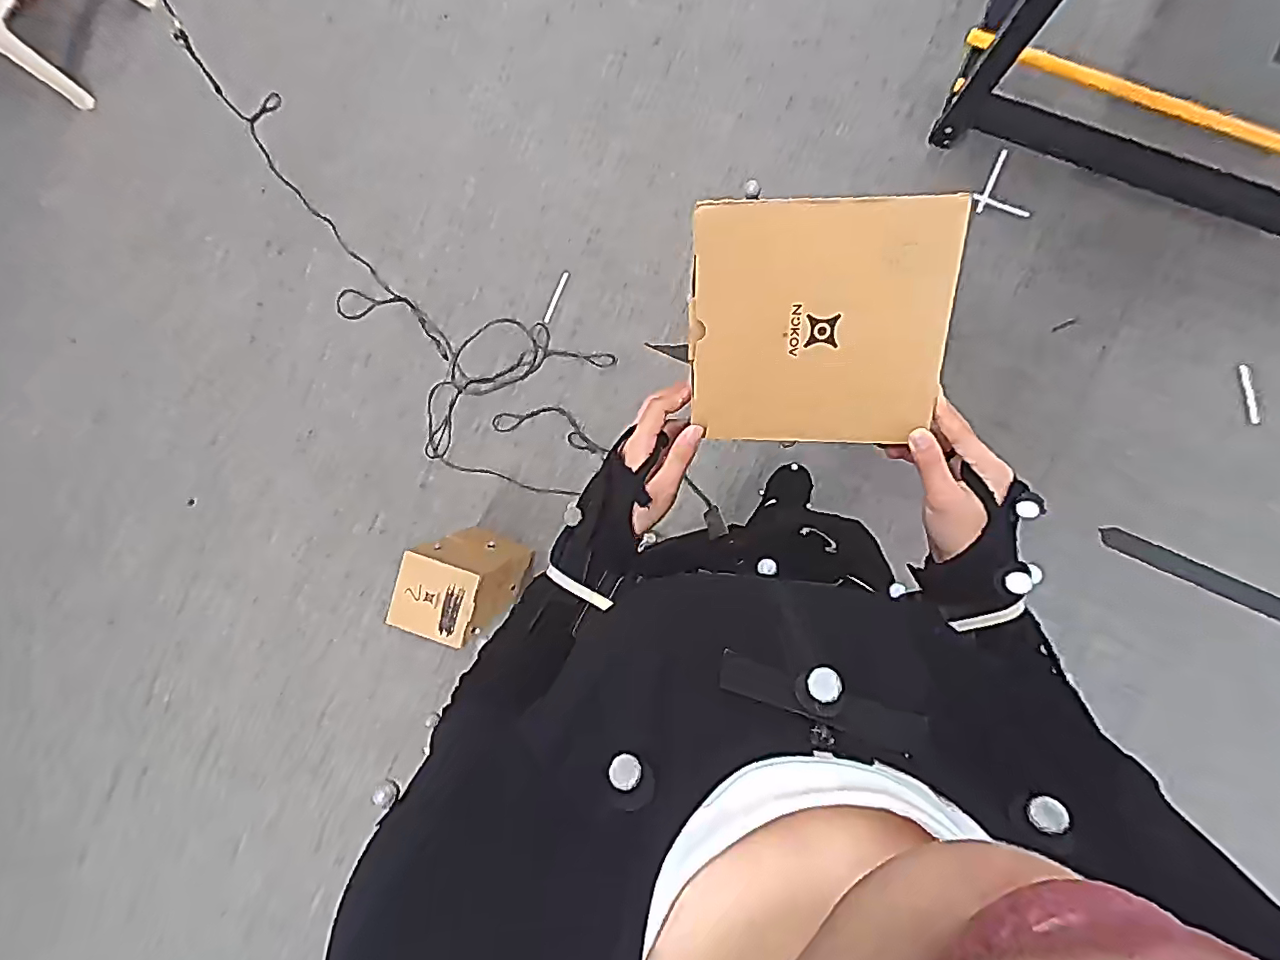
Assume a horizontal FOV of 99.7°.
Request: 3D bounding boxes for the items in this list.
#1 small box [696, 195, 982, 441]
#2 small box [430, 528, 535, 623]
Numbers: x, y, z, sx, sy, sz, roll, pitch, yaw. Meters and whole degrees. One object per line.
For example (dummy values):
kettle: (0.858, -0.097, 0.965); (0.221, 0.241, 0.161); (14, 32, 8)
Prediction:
small box: (0.141, -0.139, 0.451); (0.179, 0.176, 0.168); (3, 113, 10)
small box: (-0.387, 0.231, 1.365); (0.179, 0.176, 0.168); (22, 95, 6)
